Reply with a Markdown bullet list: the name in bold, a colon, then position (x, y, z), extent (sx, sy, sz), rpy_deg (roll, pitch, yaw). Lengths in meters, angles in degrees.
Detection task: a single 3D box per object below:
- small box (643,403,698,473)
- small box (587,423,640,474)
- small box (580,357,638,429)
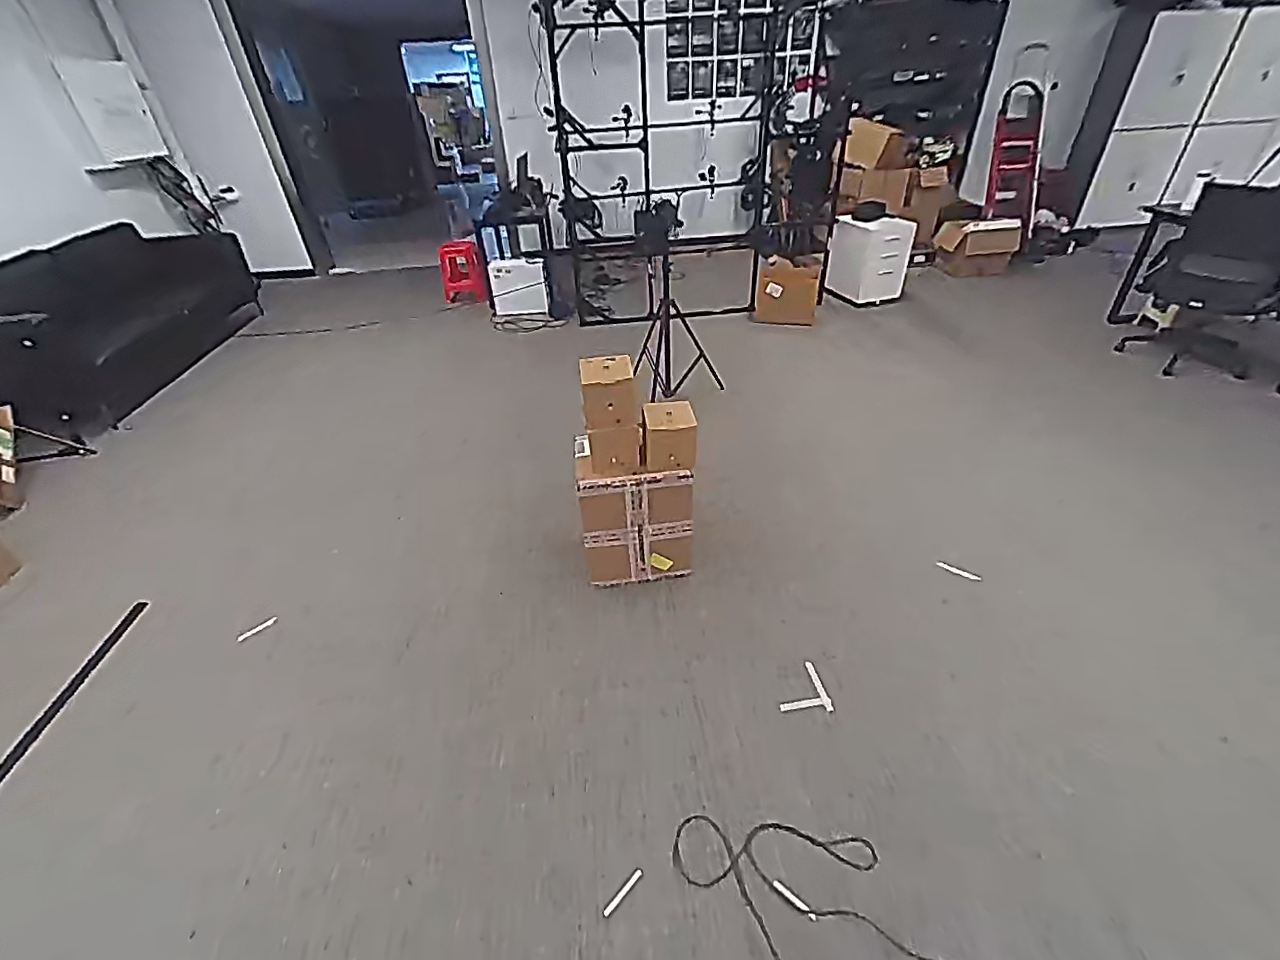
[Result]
- **small box**: position (0.100, -0.144, 1.848), extent (0.168, 0.176, 0.179), rpy_deg (-5, 38, -4)
- **small box**: position (-0.093, -0.142, 1.859), extent (0.168, 0.176, 0.179), rpy_deg (-8, 39, -5)
- **small box**: position (-0.102, -0.279, 1.769), extent (0.168, 0.176, 0.179), rpy_deg (-7, 39, -3)
